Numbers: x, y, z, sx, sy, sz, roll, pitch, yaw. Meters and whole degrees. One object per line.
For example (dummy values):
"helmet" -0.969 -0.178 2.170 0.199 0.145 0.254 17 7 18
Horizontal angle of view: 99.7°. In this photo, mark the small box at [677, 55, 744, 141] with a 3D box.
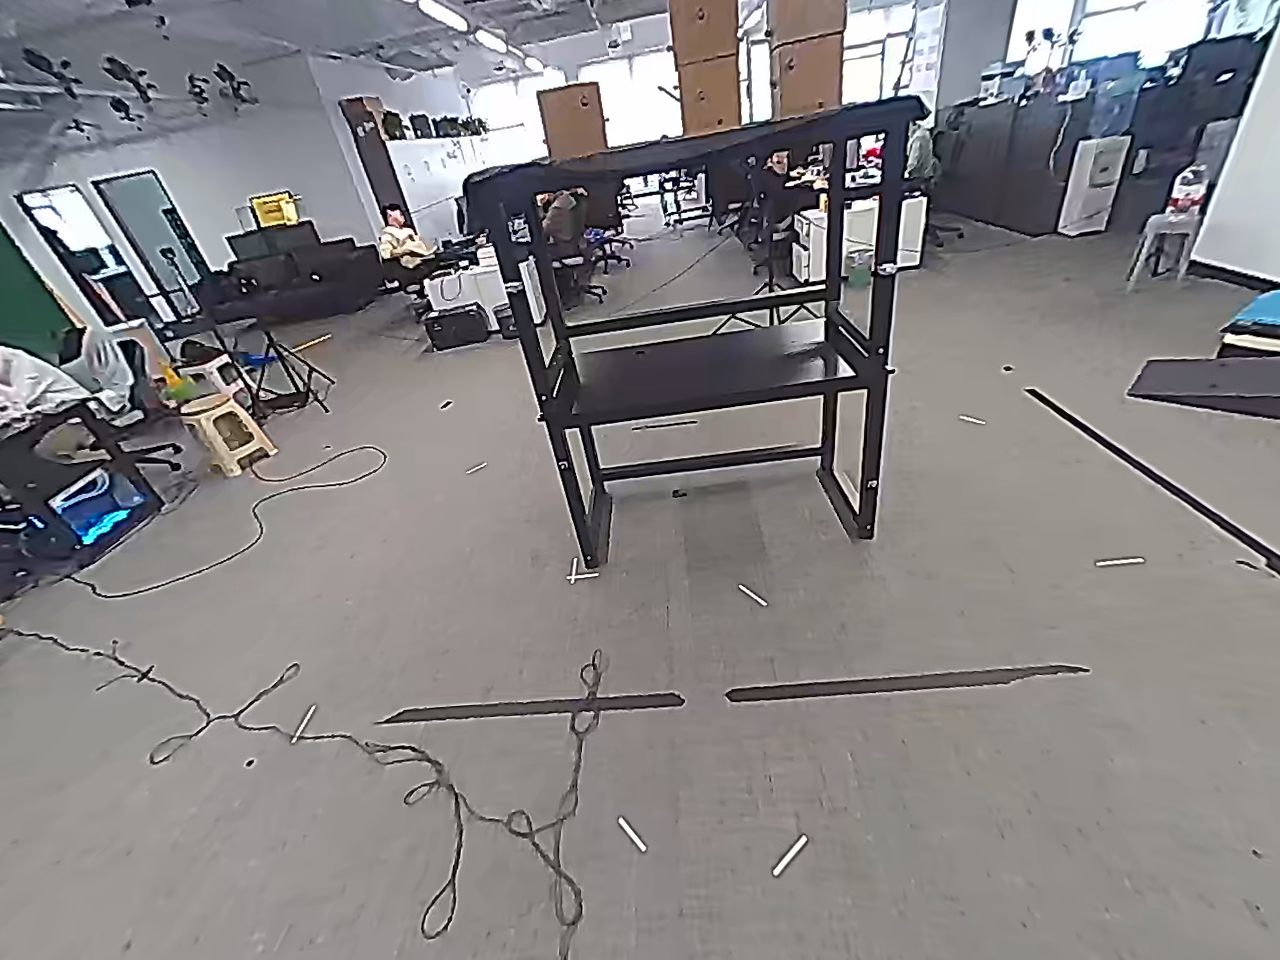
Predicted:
"small box" 0.199 -1.067 1.522 0.168 0.176 0.179 -5 31 8

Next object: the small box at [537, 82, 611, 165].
"small box" -0.180 -1.010 1.540 0.179 0.176 0.168 -9 31 2

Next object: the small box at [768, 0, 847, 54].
"small box" 0.428 -1.223 1.389 0.179 0.176 0.168 -8 30 7

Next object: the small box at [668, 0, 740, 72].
"small box" 0.171 -1.200 1.428 0.179 0.176 0.168 -7 31 9
